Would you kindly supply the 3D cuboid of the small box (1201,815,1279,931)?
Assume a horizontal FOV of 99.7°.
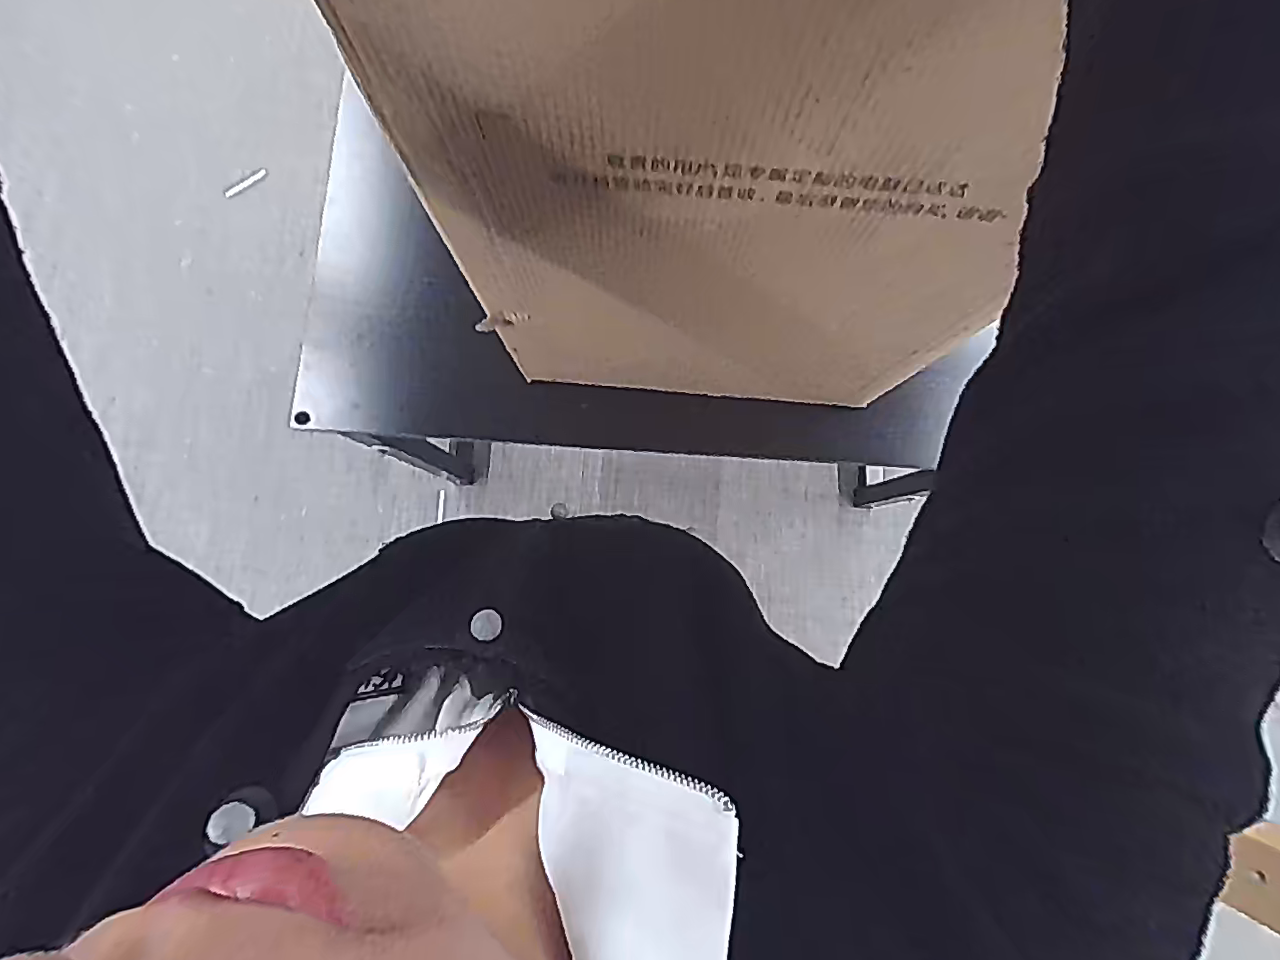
[{"bbox_3d":[1.407,0.872,1.197,0.168,0.176,0.179,3,82,-1],"label":"small box"}]
